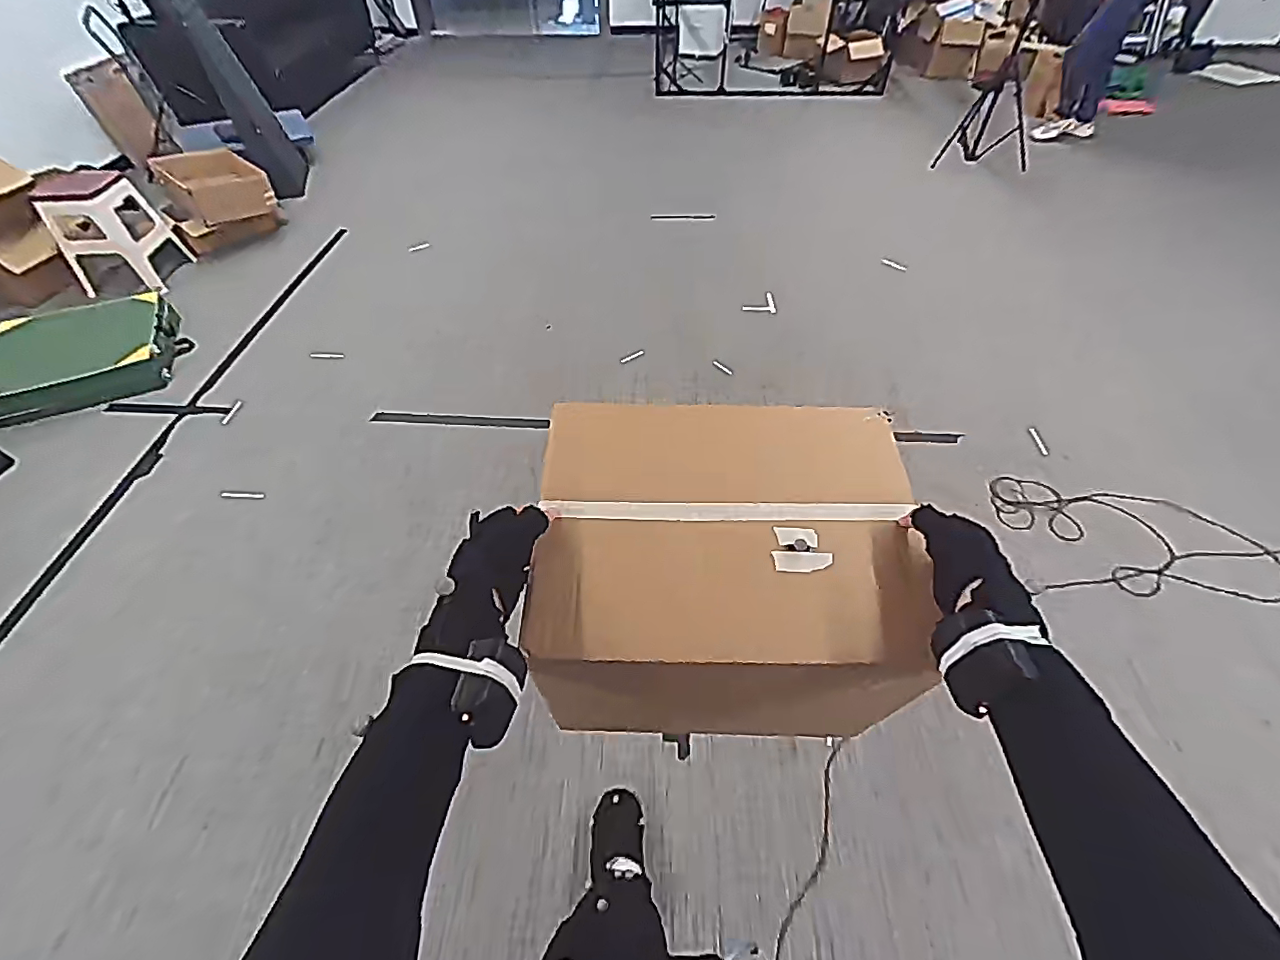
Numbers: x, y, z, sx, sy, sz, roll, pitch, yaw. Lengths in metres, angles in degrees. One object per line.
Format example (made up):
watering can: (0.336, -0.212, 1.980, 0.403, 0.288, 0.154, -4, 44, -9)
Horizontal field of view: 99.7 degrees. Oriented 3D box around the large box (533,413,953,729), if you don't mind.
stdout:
large box: (0.094, 0.128, 0.709, 0.408, 0.320, 0.320, 1, 54, 0)
